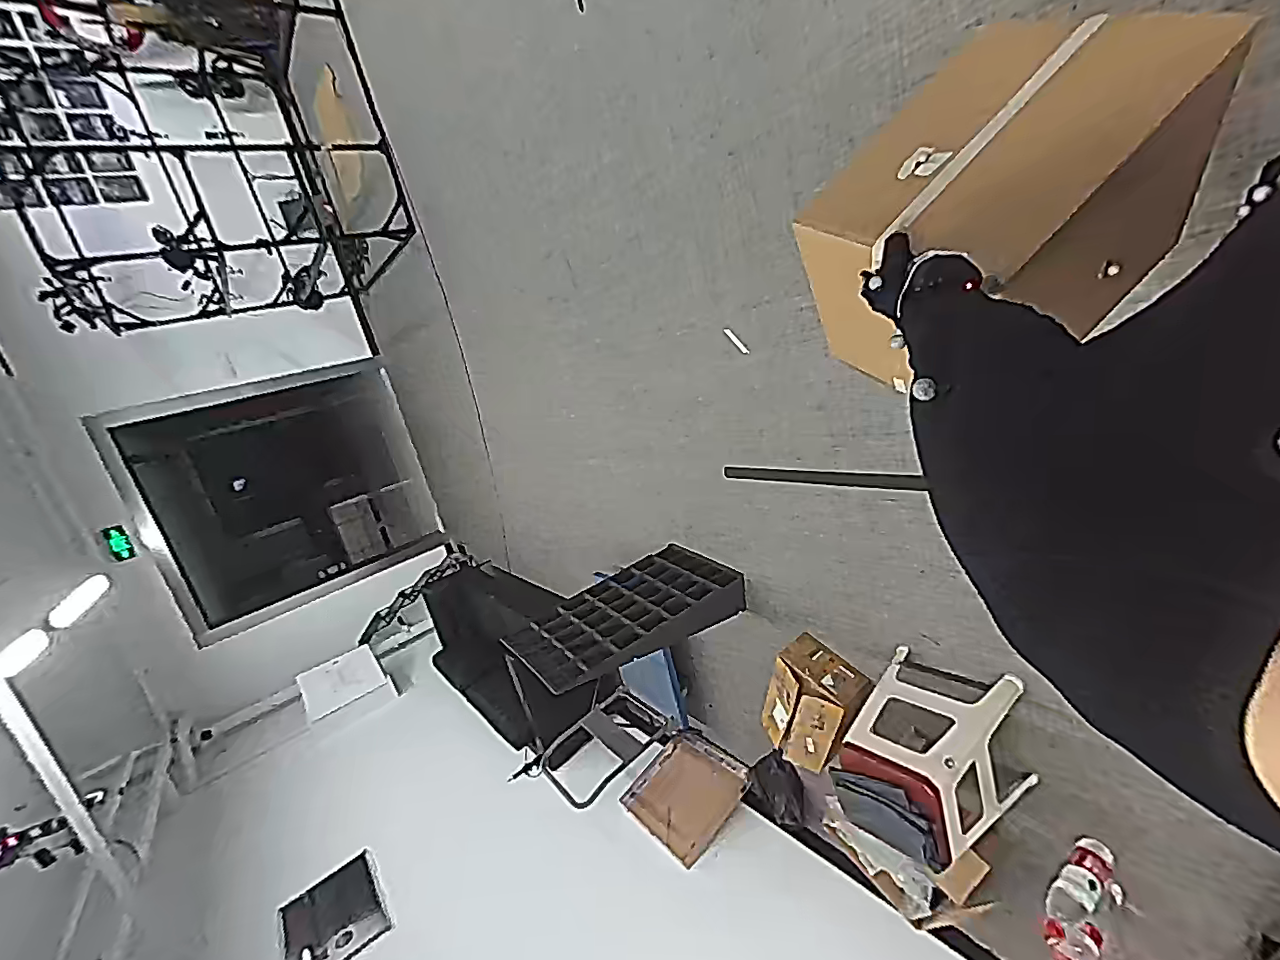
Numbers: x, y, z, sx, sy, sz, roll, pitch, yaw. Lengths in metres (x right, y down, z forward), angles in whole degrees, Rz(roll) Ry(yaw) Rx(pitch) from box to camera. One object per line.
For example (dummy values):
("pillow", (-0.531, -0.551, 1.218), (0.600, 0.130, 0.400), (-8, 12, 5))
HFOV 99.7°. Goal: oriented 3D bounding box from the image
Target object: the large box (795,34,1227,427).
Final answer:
("large box", (0.514, -0.365, 0.815), (0.320, 0.408, 0.320), (44, 180, 41))
